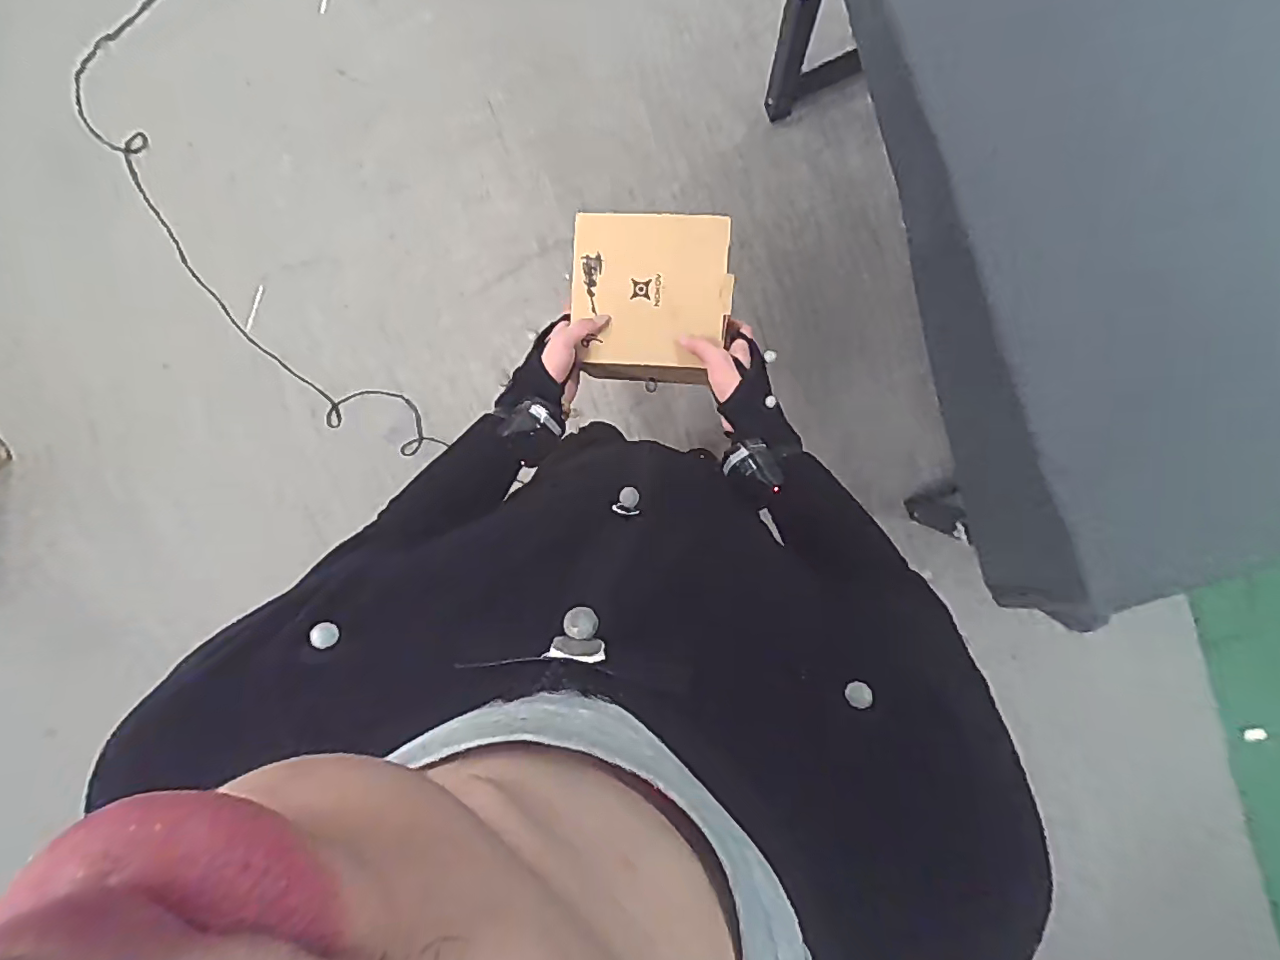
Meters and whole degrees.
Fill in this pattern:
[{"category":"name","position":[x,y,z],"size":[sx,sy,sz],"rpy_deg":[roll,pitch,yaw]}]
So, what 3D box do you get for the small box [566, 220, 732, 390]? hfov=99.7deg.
[{"category":"small box","position":[0.014,-0.205,0.675],"size":[0.179,0.176,0.168],"rpy_deg":[4,94,5]}]
